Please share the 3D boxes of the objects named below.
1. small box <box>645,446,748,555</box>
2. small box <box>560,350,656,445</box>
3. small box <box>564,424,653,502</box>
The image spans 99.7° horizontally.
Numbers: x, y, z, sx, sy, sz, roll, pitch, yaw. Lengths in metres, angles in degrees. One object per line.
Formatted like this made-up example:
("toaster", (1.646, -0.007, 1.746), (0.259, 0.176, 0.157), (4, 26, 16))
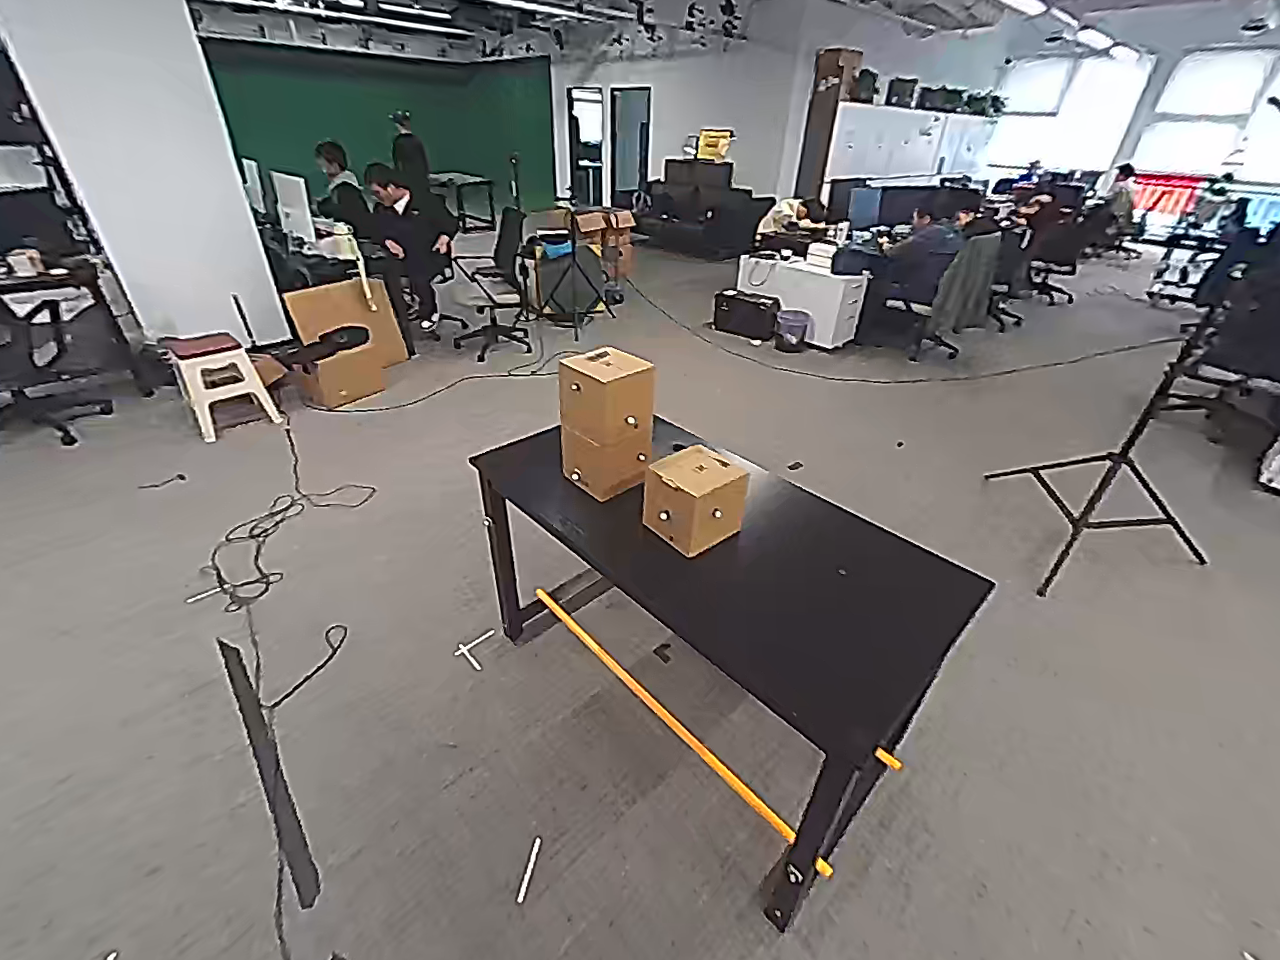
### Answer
("small box", (0.128, 0.048, 1.267), (0.179, 0.176, 0.168), (-24, 42, -34))
("small box", (-0.081, -0.206, 1.346), (0.168, 0.176, 0.179), (-27, 43, -37))
("small box", (-0.085, -0.068, 1.436), (0.179, 0.176, 0.168), (-27, 42, -35))
